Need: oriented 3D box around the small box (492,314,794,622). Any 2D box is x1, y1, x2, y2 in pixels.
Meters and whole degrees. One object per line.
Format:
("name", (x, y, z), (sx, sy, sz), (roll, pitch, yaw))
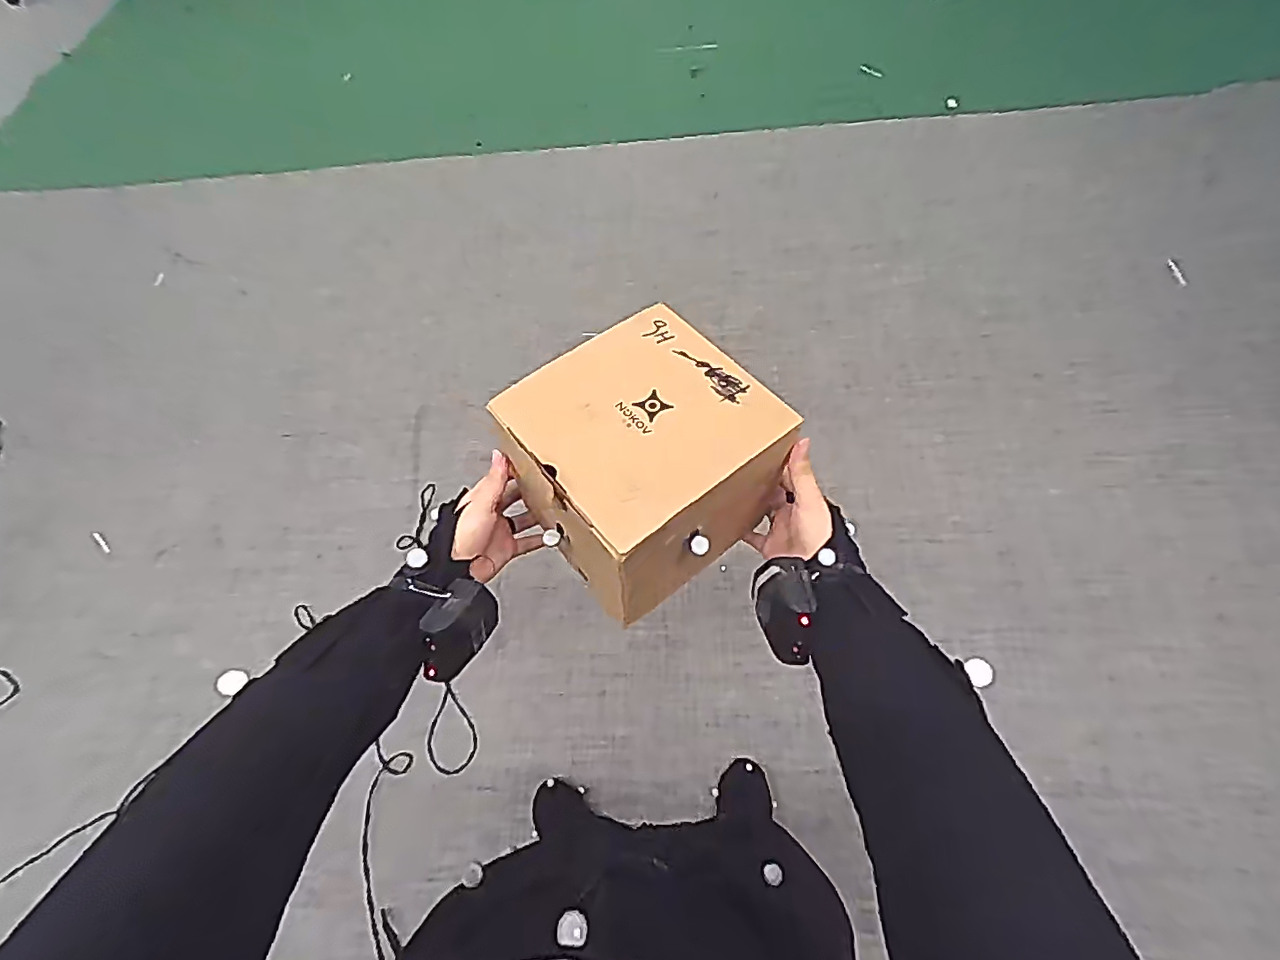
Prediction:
("small box", (0.003, -0.003, 0.479), (0.179, 0.176, 0.168), (-35, 65, -19))
